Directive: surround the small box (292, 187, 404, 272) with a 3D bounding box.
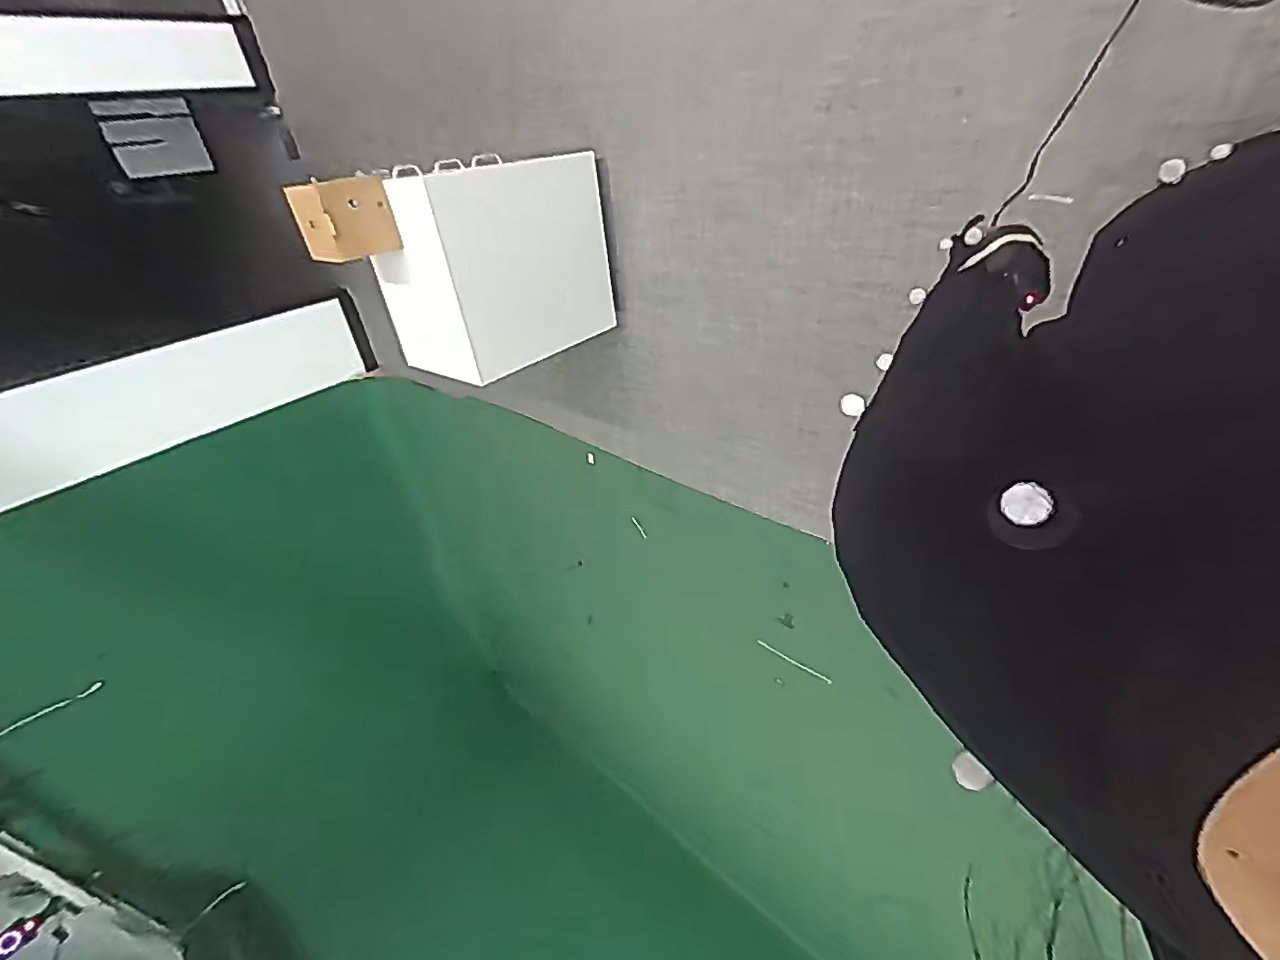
[{"bbox_3d":[-0.719,-0.629,1.354,0.179,0.176,0.168,20,131,36],"label":"small box"}]
